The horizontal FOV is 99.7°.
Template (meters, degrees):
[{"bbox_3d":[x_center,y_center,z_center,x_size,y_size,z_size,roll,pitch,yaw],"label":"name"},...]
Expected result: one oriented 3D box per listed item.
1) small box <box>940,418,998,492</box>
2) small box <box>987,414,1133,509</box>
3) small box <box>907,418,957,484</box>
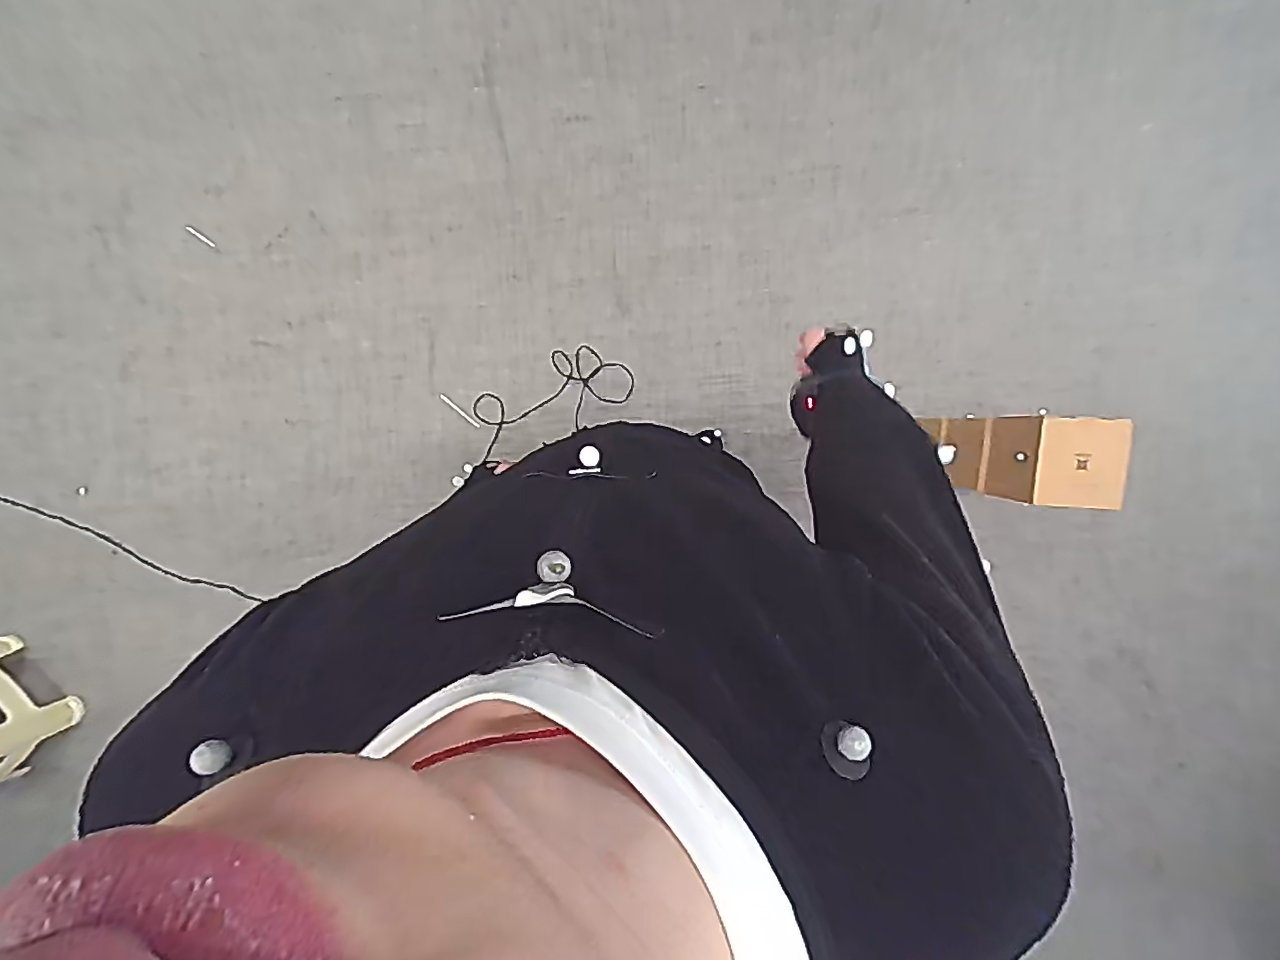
[{"bbox_3d":[0.844,-0.058,1.269,0.179,0.176,0.168,5,96,2],"label":"small box"},{"bbox_3d":[0.846,-0.043,1.108,0.168,0.176,0.179,3,97,3],"label":"small box"},{"bbox_3d":[0.842,-0.077,1.433,0.179,0.176,0.168,3,96,2],"label":"small box"}]
